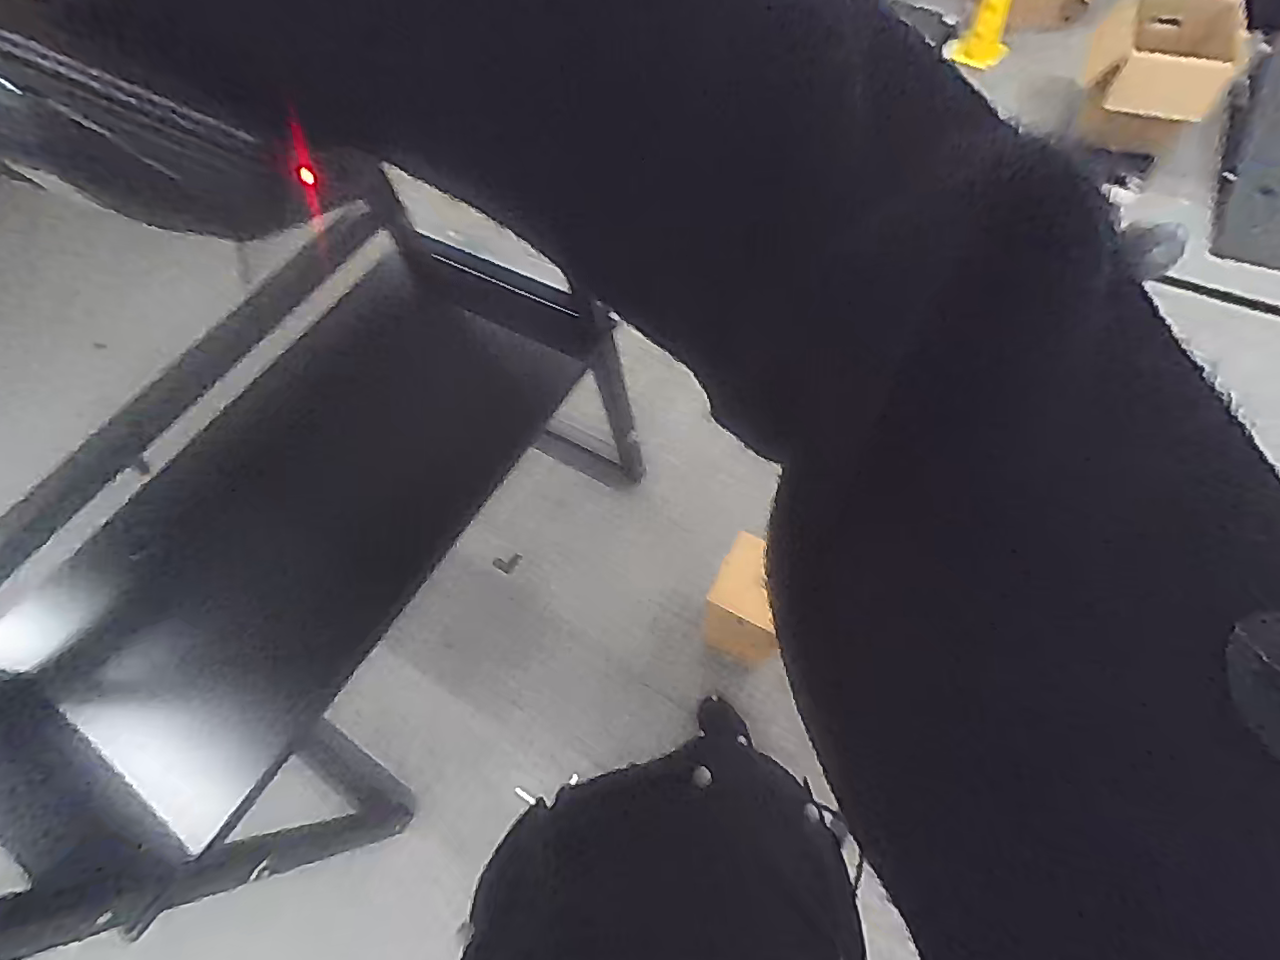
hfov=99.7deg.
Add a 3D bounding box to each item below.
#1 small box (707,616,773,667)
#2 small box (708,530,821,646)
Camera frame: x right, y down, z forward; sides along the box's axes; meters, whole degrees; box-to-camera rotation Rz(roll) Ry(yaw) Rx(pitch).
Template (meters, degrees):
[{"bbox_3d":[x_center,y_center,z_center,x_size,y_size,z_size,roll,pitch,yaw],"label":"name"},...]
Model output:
[{"bbox_3d":[0.285,0.374,1.438,0.168,0.176,0.179,25,71,18],"label":"small box"},{"bbox_3d":[0.257,0.235,1.143,0.179,0.176,0.168,24,70,17],"label":"small box"}]
